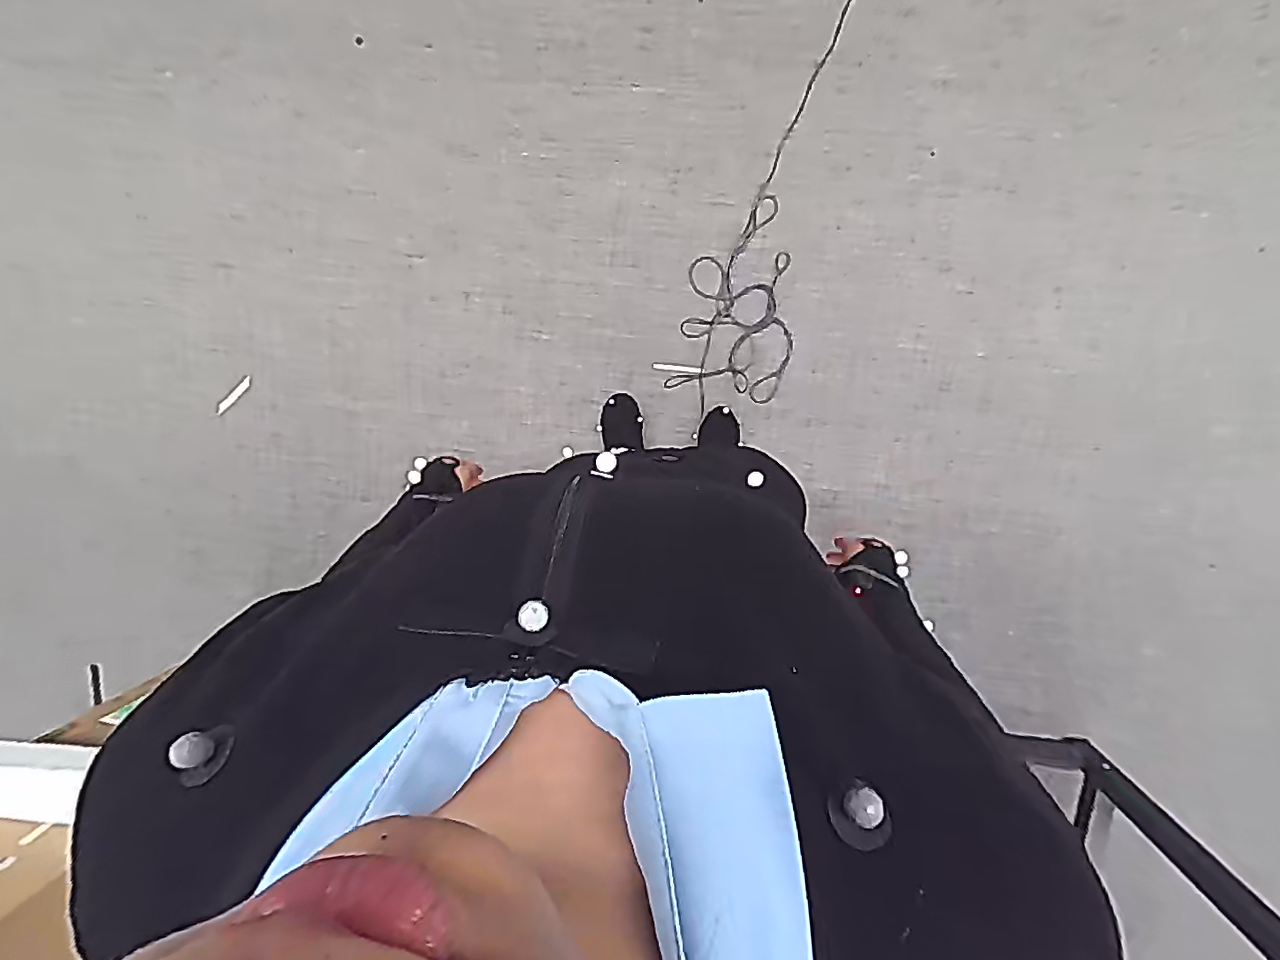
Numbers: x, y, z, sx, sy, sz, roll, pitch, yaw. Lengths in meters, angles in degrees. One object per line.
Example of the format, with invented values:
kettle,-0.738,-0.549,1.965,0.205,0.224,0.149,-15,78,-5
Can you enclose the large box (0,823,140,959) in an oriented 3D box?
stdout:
large box,-1.193,0.904,0.960,0.320,0.320,0.408,2,101,7
